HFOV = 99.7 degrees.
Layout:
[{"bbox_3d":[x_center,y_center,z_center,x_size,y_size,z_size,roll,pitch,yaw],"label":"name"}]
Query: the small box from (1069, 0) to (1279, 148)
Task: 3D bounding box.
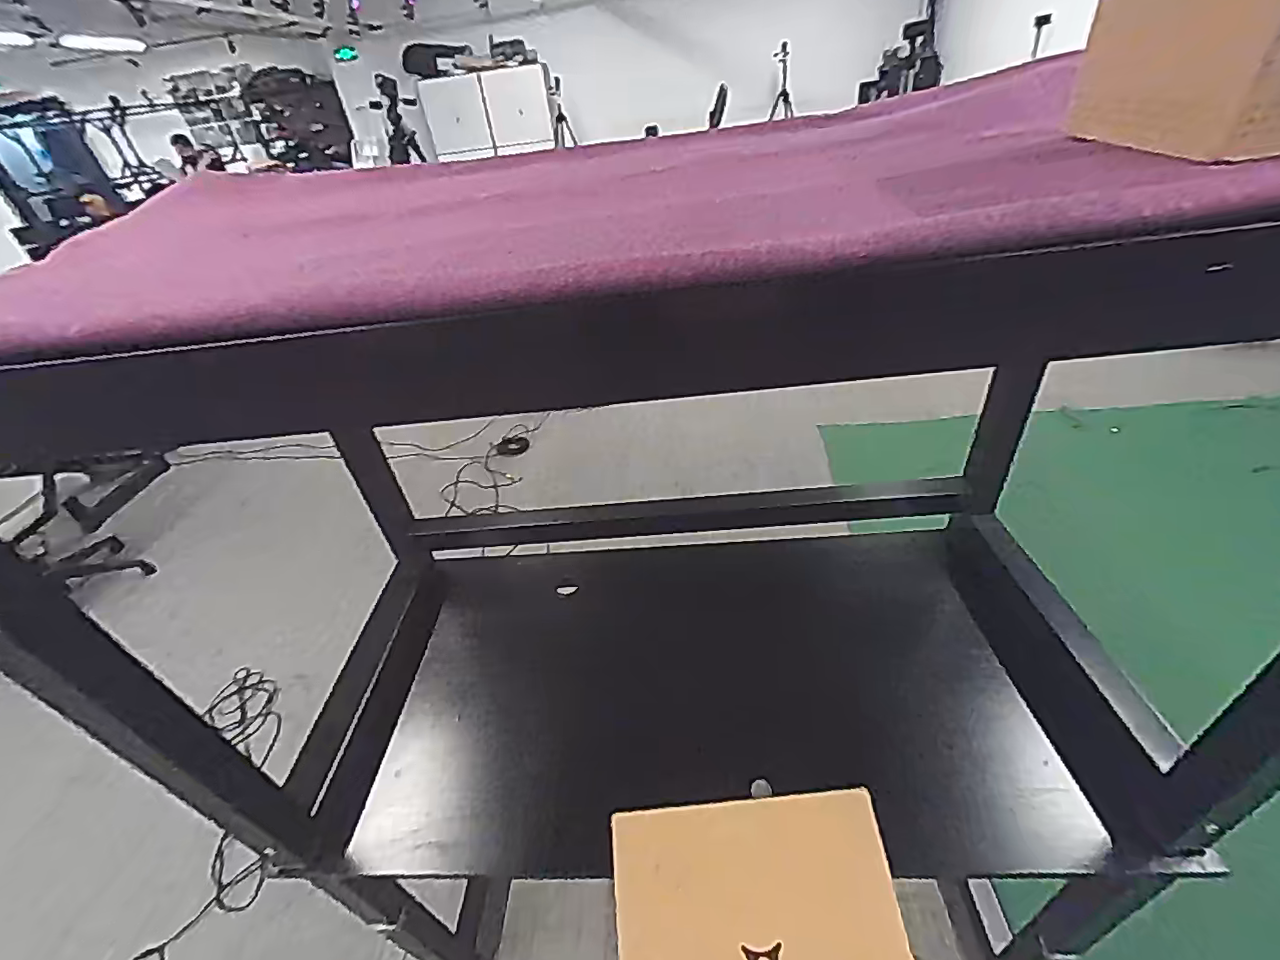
[{"bbox_3d":[0.390,-0.297,0.301,0.168,0.176,0.179,-2,38,10],"label":"small box"}]
